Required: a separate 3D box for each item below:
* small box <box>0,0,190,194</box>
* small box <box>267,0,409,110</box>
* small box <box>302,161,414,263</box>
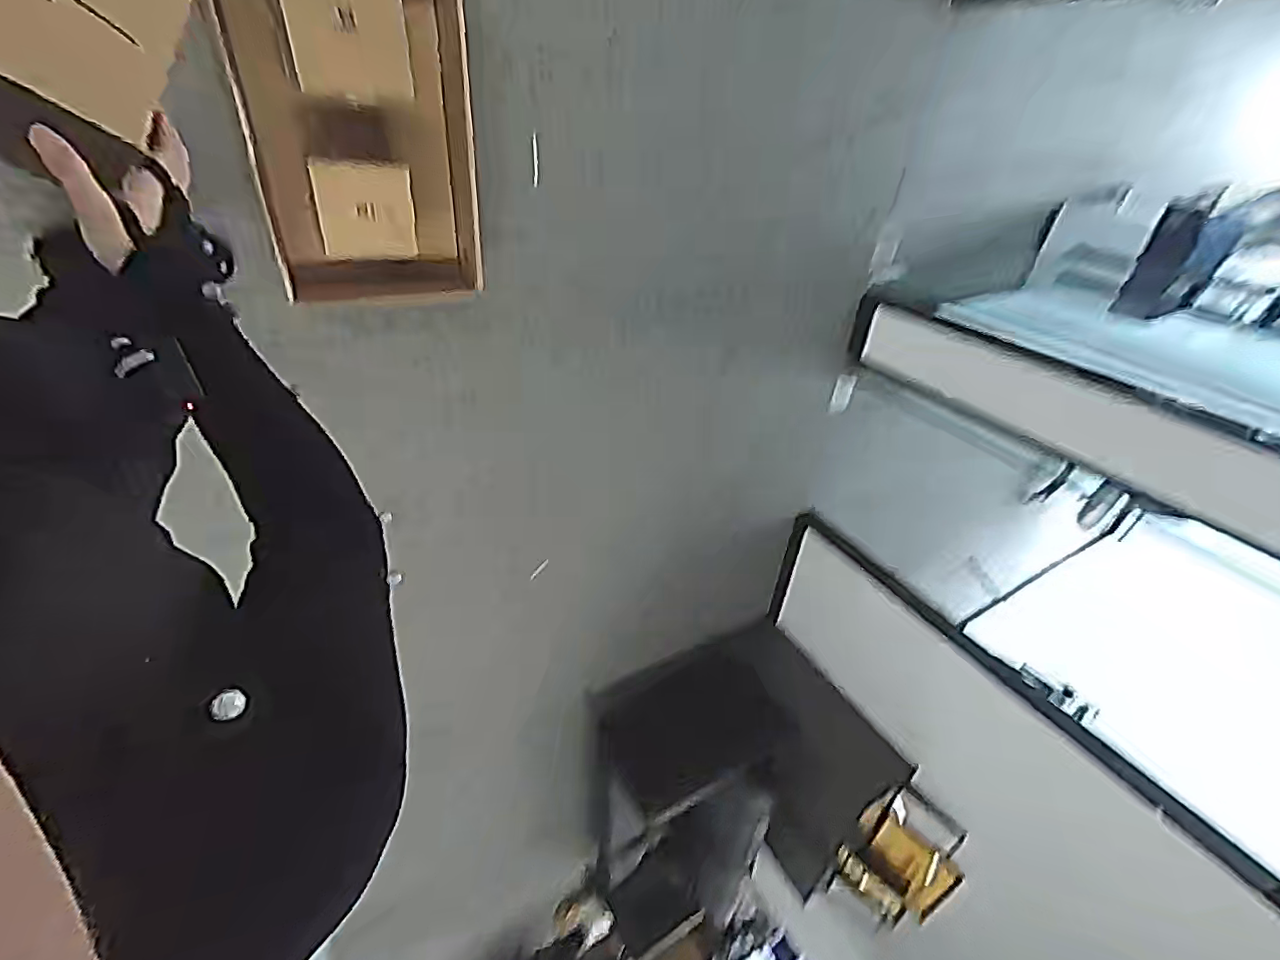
[{"bbox_3d":[-0.498,-0.359,0.420,0.179,0.176,0.168,19,77,-53],"label":"small box"},{"bbox_3d":[-0.477,-0.701,0.851,0.168,0.176,0.179,-16,131,-28],"label":"small box"},{"bbox_3d":[-0.585,-0.555,1.119,0.179,0.176,0.168,-13,128,-29],"label":"small box"}]
